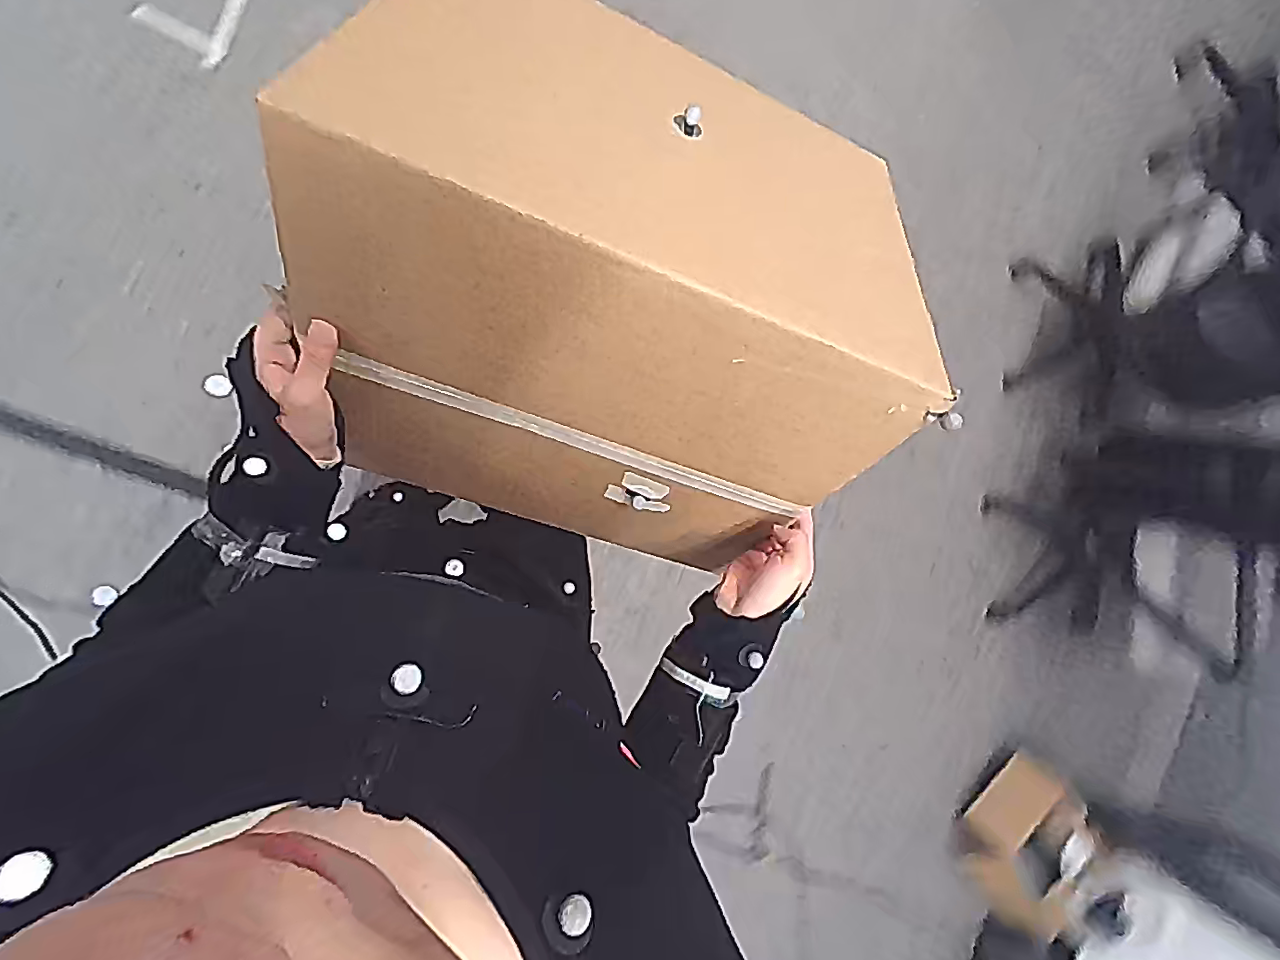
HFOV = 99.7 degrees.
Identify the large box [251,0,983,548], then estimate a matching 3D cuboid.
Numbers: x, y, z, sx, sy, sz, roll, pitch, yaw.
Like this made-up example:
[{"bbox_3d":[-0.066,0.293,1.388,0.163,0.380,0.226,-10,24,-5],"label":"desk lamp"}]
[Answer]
[{"bbox_3d":[-0.020,-0.176,0.476,0.408,0.320,0.320,15,57,-14],"label":"large box"}]
